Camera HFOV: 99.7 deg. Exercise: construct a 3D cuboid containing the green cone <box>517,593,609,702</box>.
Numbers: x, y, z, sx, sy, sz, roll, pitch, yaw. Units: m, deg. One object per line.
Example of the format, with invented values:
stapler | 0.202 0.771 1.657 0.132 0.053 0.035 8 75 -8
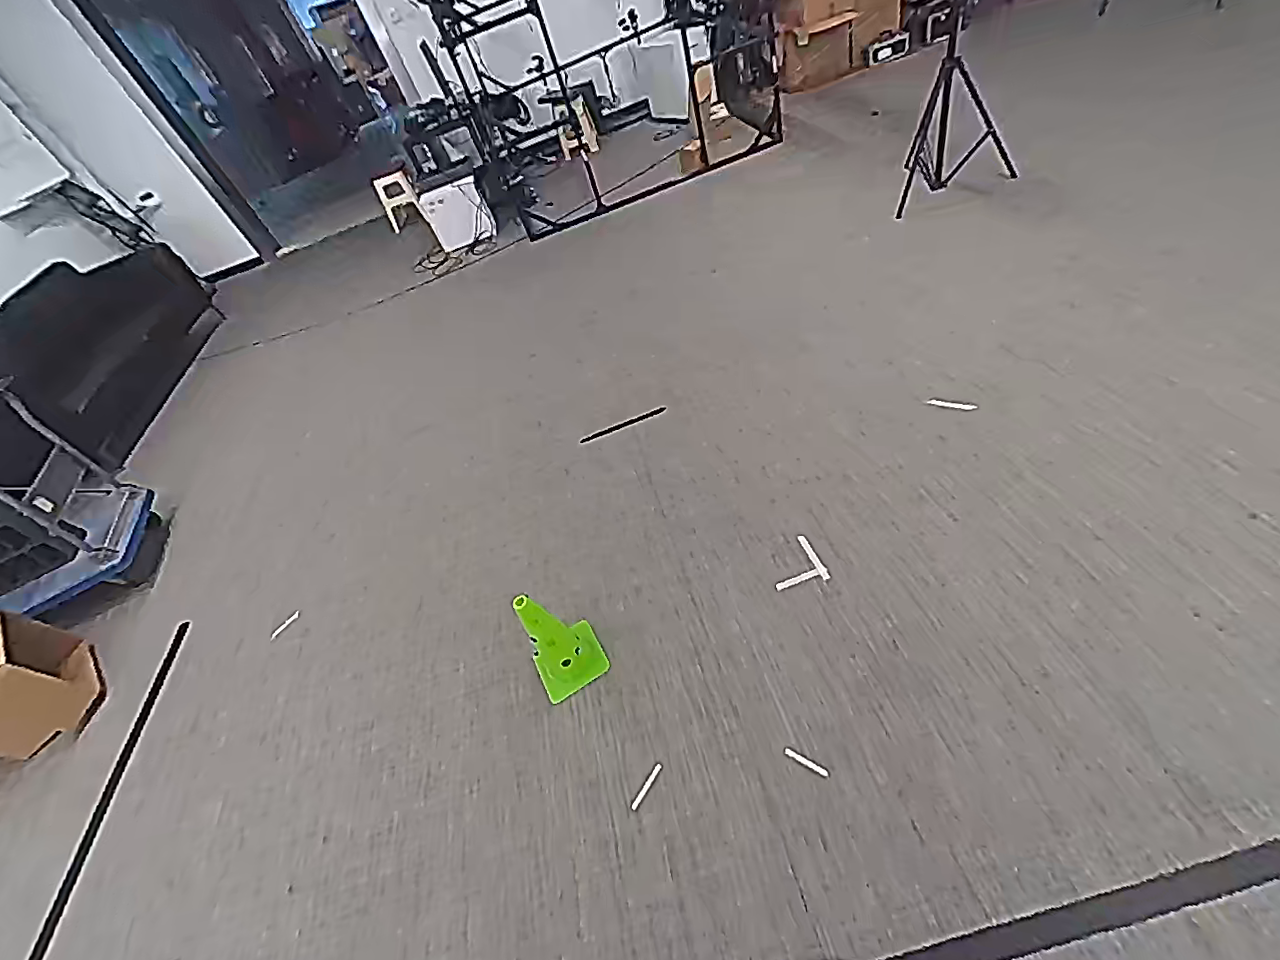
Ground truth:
green cone | -0.258 0.432 1.520 0.202 0.368 0.200 -31 45 -9
